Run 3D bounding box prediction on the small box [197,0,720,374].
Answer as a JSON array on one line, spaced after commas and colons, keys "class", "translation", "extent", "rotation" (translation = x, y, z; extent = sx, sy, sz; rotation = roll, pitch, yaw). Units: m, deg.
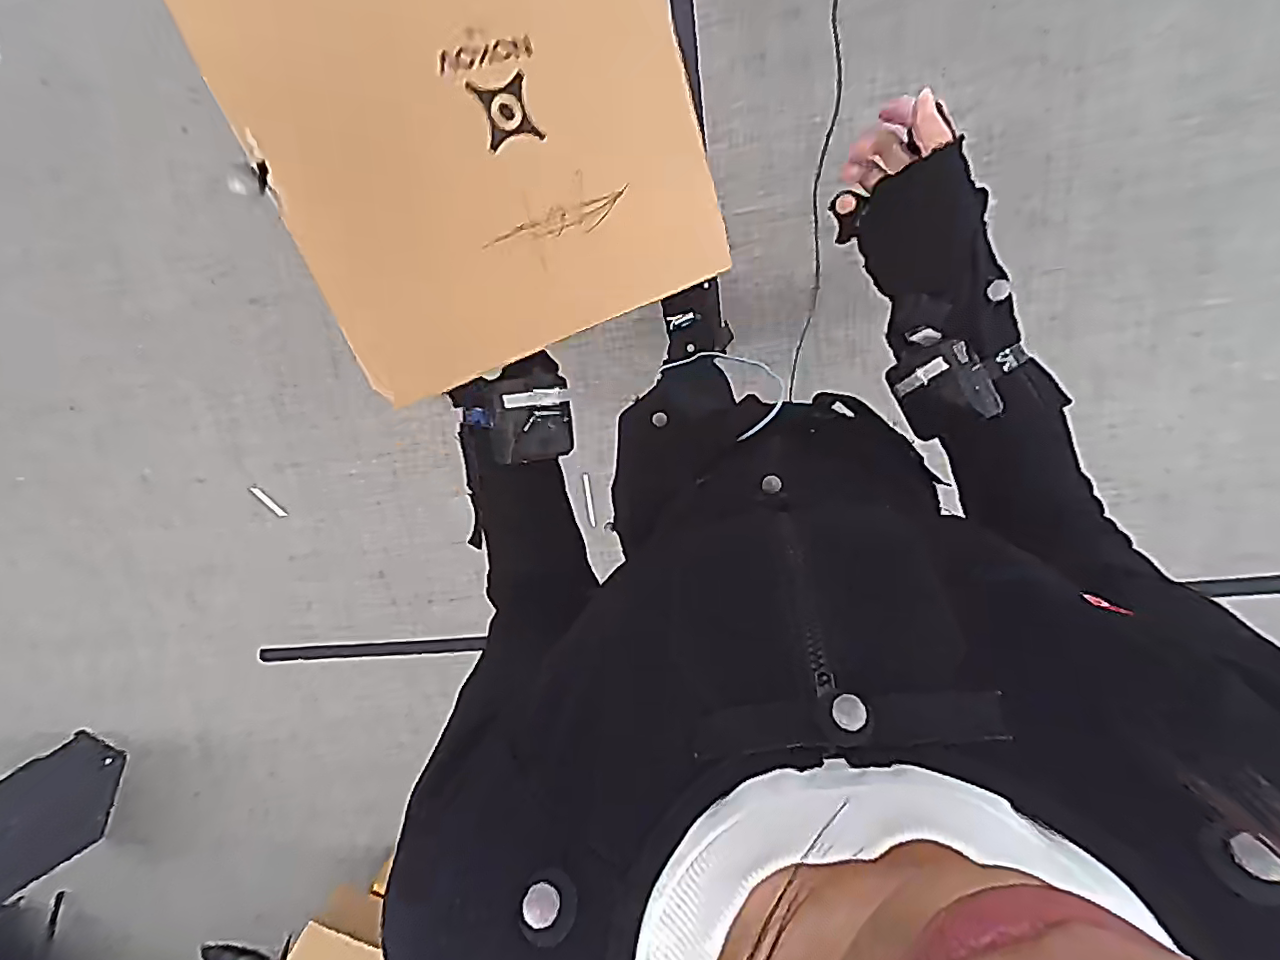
[{"class": "small box", "translation": [-0.092, -0.163, 0.277], "extent": [0.168, 0.176, 0.179], "rotation": [-29, 114, -22]}]
